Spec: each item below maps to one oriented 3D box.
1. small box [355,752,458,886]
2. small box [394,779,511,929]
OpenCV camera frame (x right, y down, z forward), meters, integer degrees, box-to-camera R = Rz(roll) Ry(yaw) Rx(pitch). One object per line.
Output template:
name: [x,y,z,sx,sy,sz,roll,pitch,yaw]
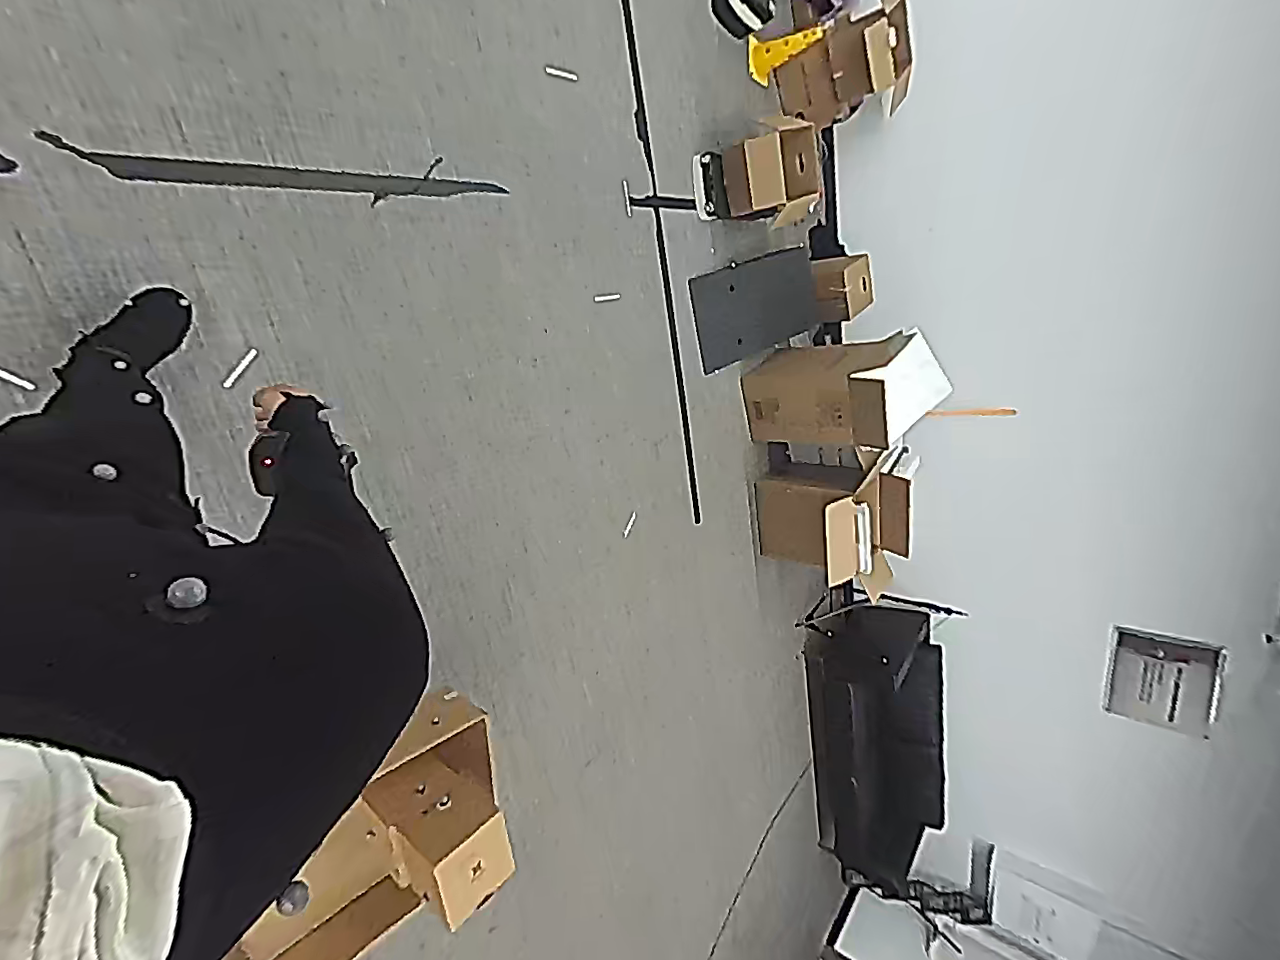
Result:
small box: [-0.541,0.789,1.282,0.179,0.176,0.168,-20,110,-46]
small box: [-0.410,0.804,1.184,0.168,0.176,0.179,-24,114,-46]
